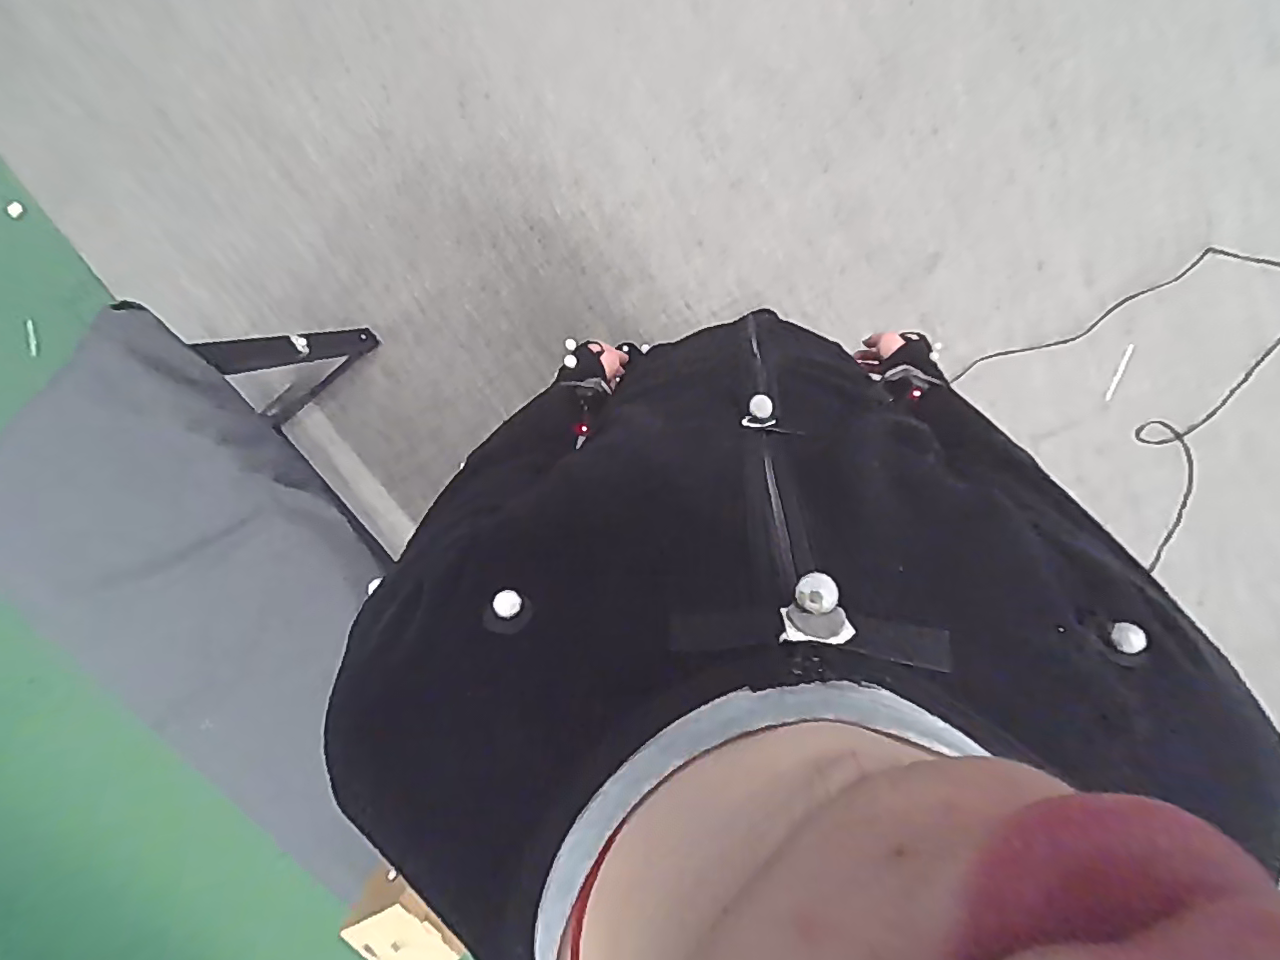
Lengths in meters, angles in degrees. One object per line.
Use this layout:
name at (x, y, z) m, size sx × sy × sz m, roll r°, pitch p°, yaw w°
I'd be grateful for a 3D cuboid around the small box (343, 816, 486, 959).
small box at (-0.432, 0.817, 1.077) m, size 0.179 × 0.176 × 0.168 m, roll -35°, pitch 101°, yaw 15°
